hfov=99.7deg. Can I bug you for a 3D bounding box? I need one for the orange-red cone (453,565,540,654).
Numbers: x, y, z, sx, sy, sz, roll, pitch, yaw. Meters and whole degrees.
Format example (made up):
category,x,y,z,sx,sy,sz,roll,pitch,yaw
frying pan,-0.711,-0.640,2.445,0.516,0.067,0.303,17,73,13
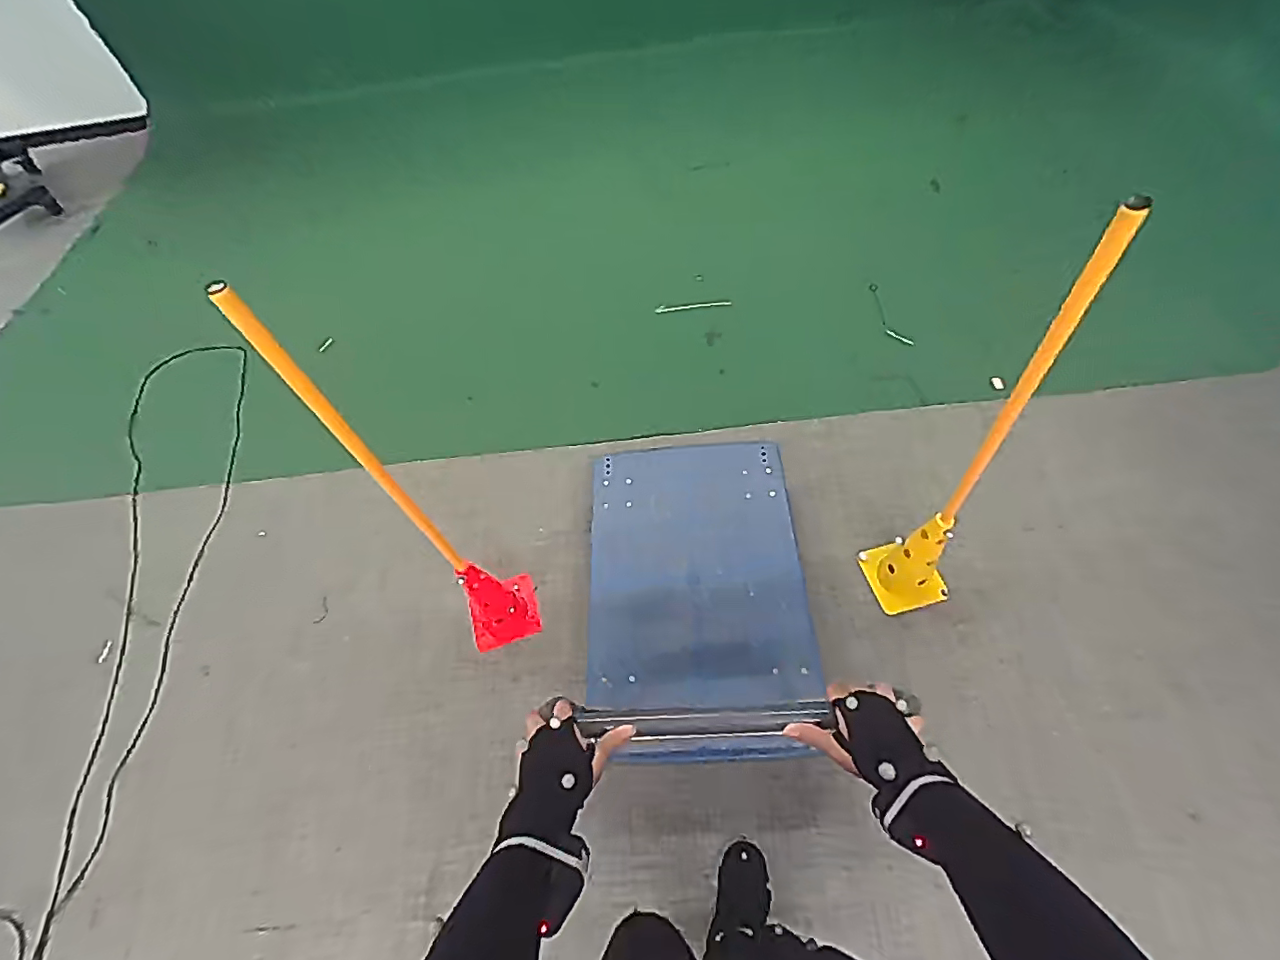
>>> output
category,x,y,z,sx,sy,sz,roll,pitch,yaw
orange-red cone,-0.431,0.323,1.496,0.199,0.360,0.198,-19,57,-3
